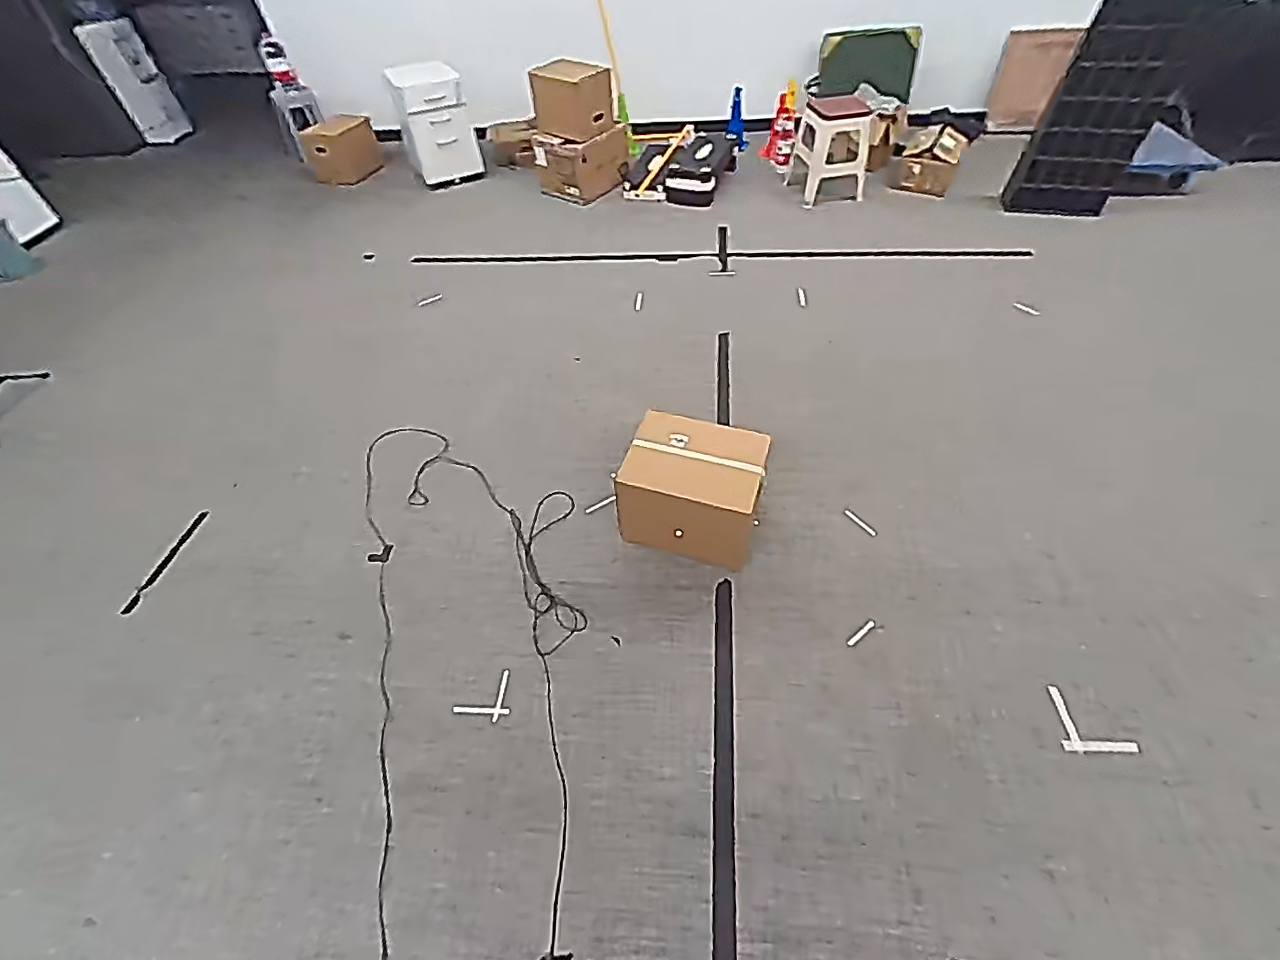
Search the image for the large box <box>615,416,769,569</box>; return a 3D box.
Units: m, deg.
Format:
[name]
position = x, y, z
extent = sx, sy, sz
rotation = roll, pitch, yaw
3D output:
[large box]
position = 0.171, 0.041, 1.723
extent = 0.408, 0.320, 0.320
rotation = 13, 52, 15
